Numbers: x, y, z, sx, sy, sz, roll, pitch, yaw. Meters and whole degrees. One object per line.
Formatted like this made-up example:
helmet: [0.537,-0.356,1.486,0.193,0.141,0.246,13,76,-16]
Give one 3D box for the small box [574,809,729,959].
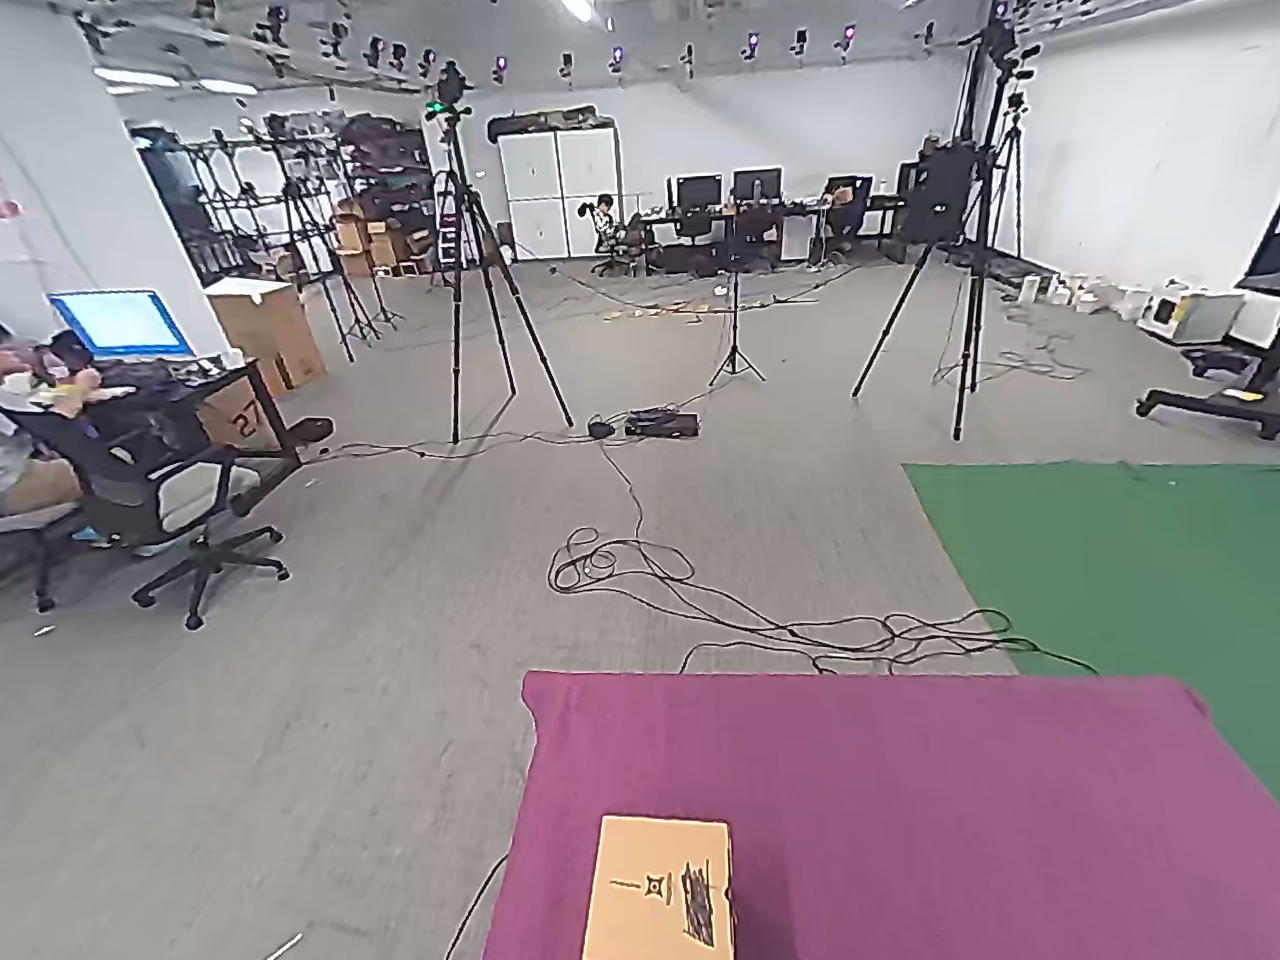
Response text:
small box: [0.026,0.569,0.713,0.179,0.176,0.168,-1,31,8]
